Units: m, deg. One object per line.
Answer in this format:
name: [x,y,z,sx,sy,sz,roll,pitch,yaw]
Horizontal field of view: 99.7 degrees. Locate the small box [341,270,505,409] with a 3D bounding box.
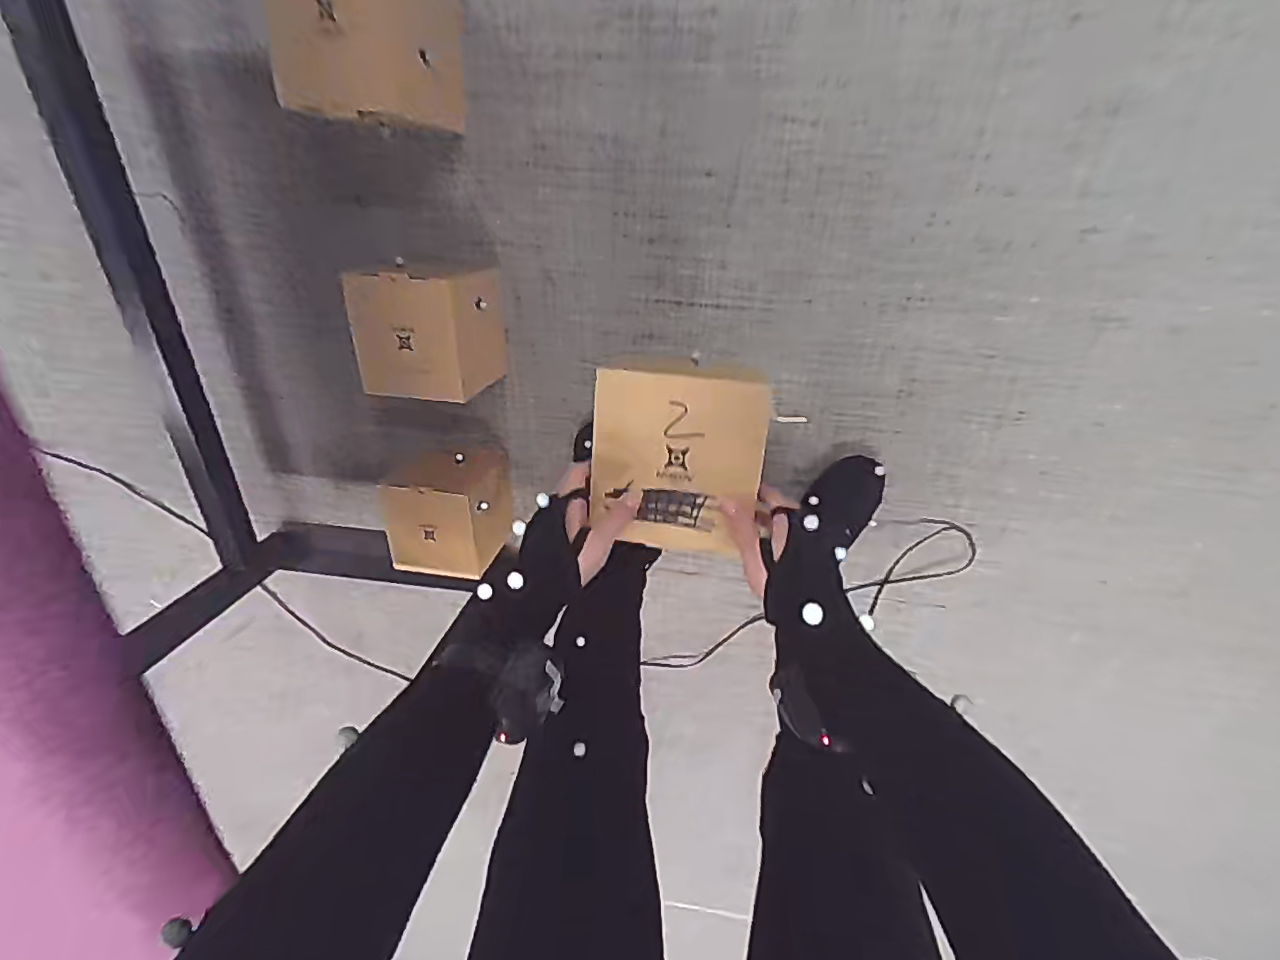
small box: [-0.321,-0.225,0.838,0.168,0.176,0.179,7,117,9]

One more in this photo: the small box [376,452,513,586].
small box: [-0.342,0.066,0.984,0.168,0.176,0.179,5,116,9]
